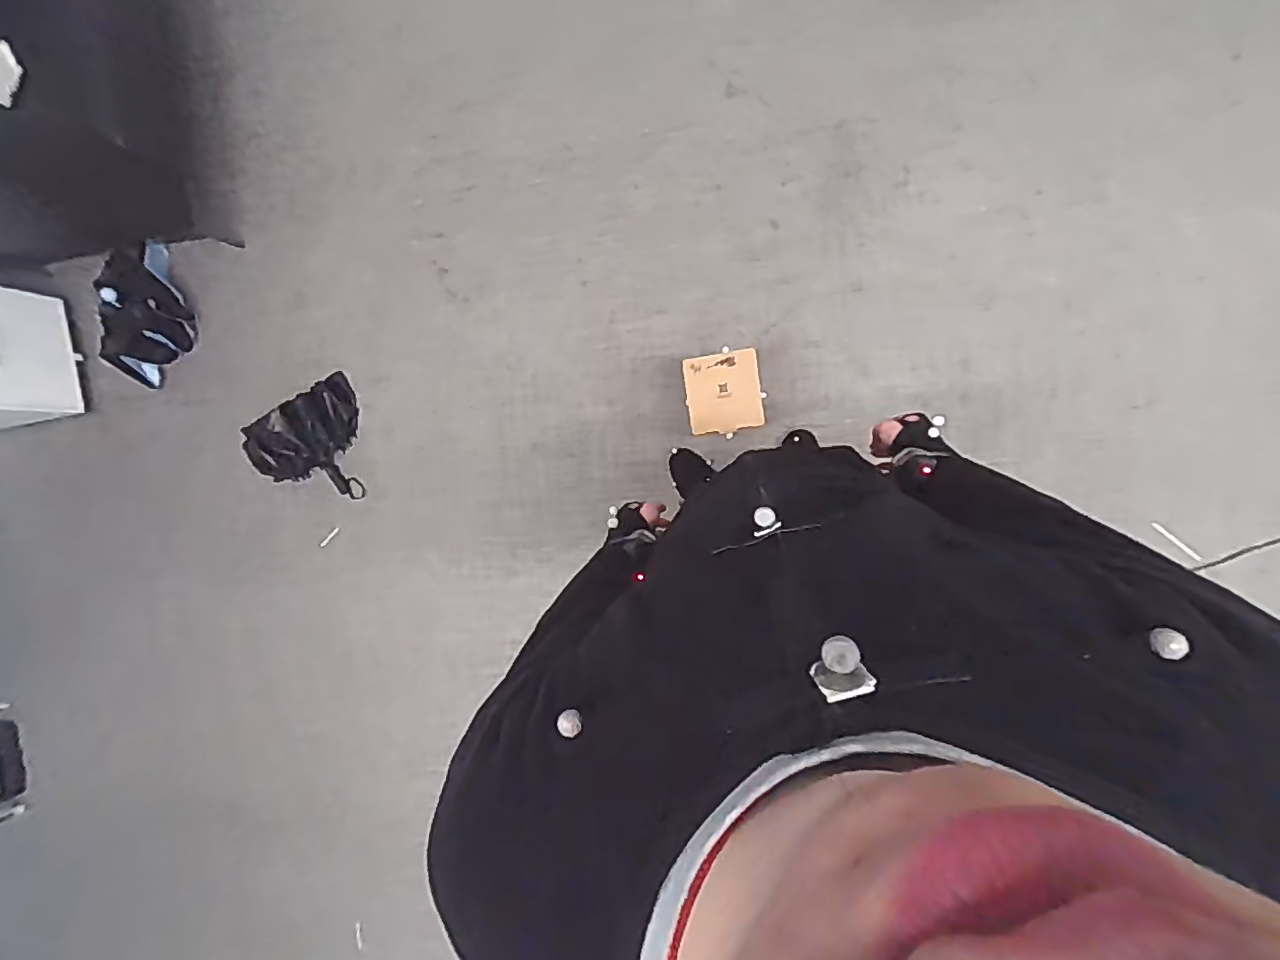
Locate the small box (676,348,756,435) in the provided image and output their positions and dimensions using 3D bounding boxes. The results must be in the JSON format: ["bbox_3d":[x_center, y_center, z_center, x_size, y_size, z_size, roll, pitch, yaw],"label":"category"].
[{"bbox_3d":[0.188,-0.208,1.300,0.168,0.176,0.179,-8,94,11],"label":"small box"}]
